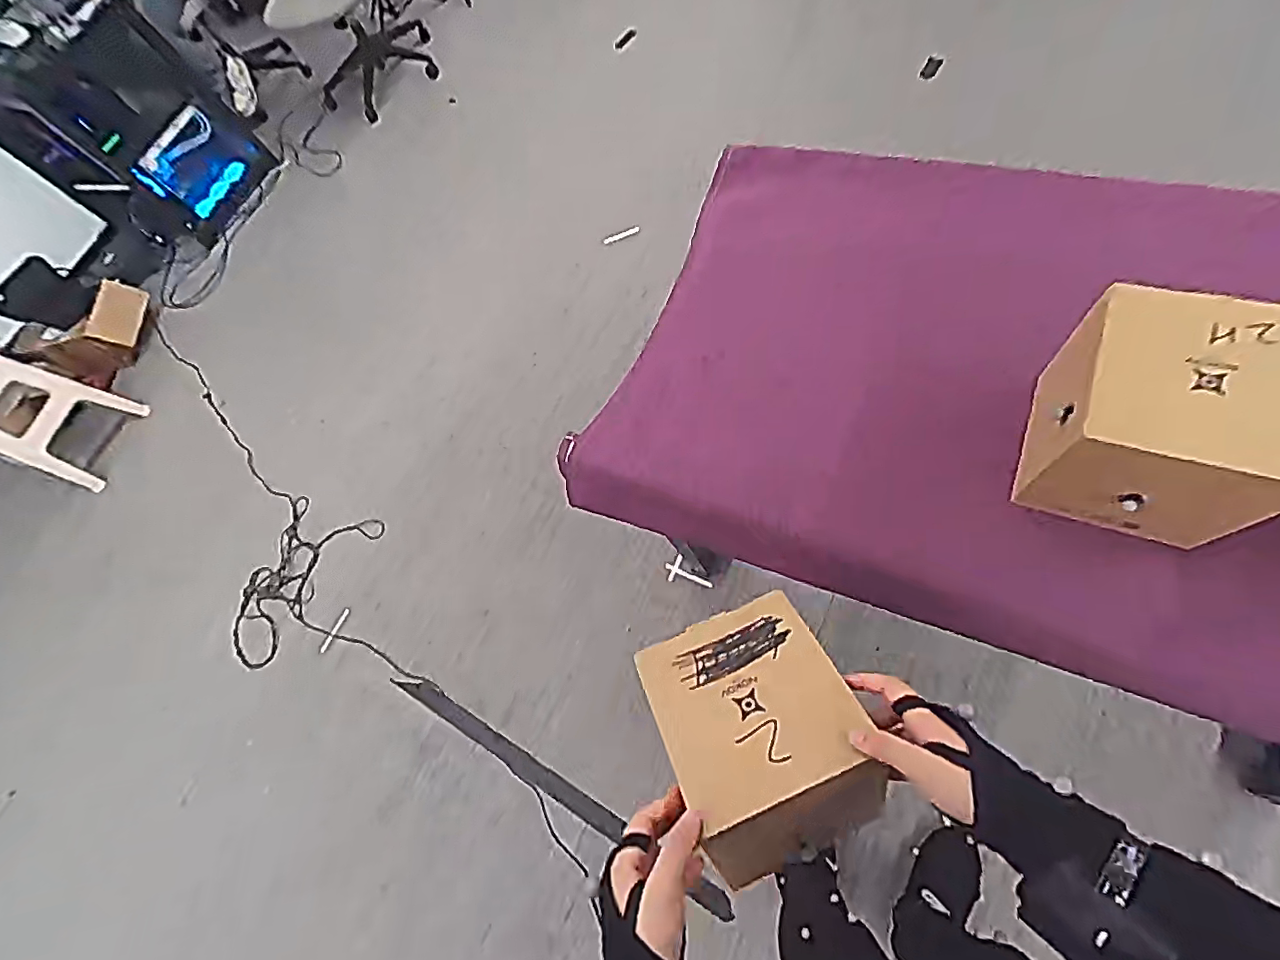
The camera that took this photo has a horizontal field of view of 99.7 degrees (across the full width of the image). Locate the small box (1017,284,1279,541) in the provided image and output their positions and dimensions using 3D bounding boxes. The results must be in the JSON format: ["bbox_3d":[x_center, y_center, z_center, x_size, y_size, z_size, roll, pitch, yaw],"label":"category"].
[{"bbox_3d":[0.508,-0.058,0.538,0.168,0.176,0.179,19,73,20],"label":"small box"}]
